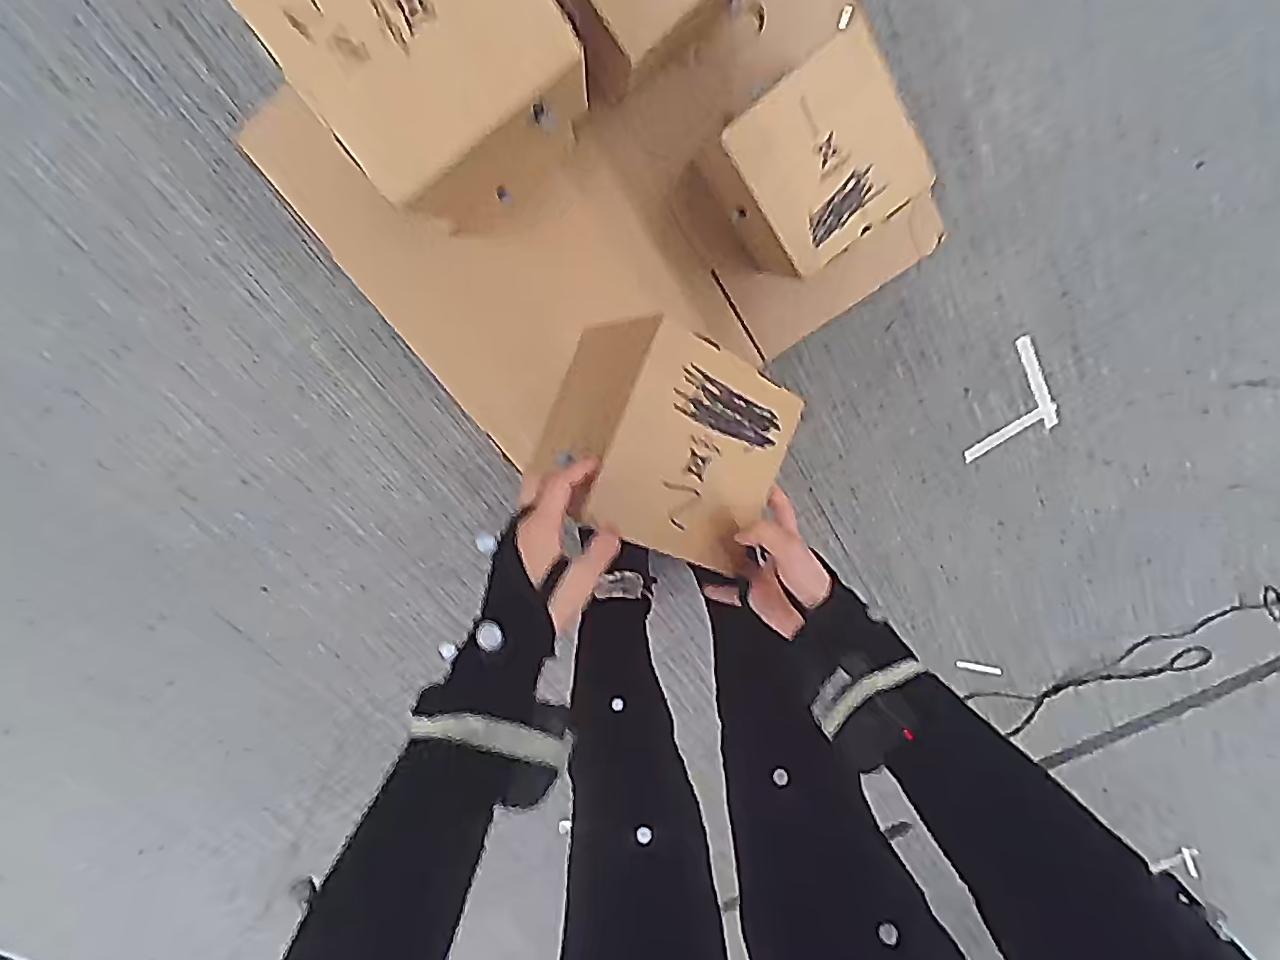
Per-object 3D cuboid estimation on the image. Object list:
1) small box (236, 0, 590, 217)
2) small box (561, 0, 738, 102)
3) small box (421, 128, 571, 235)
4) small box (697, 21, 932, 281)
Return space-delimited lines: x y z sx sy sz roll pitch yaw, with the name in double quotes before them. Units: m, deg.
"small box" -0.156 -0.335 0.426 0.179 0.176 0.168 -34 111 10
"small box" 0.008 -0.529 0.540 0.179 0.176 0.168 -37 110 12
"small box" -0.189 -0.388 0.581 0.179 0.176 0.168 -37 112 12
"small box" 0.188 -0.360 0.626 0.168 0.176 0.179 -36 111 11
